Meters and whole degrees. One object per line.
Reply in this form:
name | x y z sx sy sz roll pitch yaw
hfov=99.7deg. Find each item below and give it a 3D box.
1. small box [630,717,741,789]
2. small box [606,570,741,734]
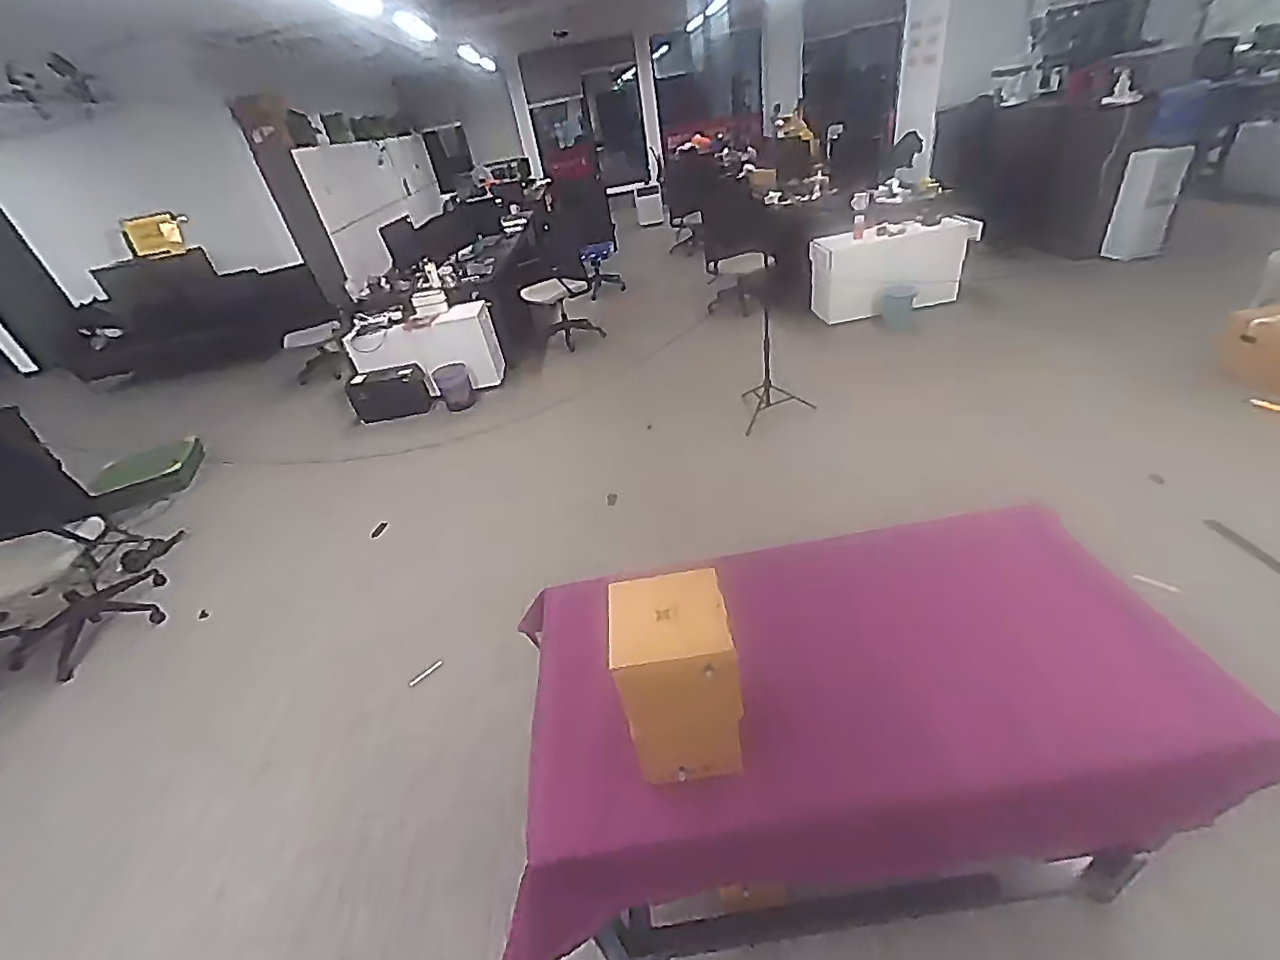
small box | 0.075 0.396 0.932 0.168 0.176 0.179 -10 35 3
small box | 0.051 0.268 0.836 0.179 0.176 0.168 -10 34 3
